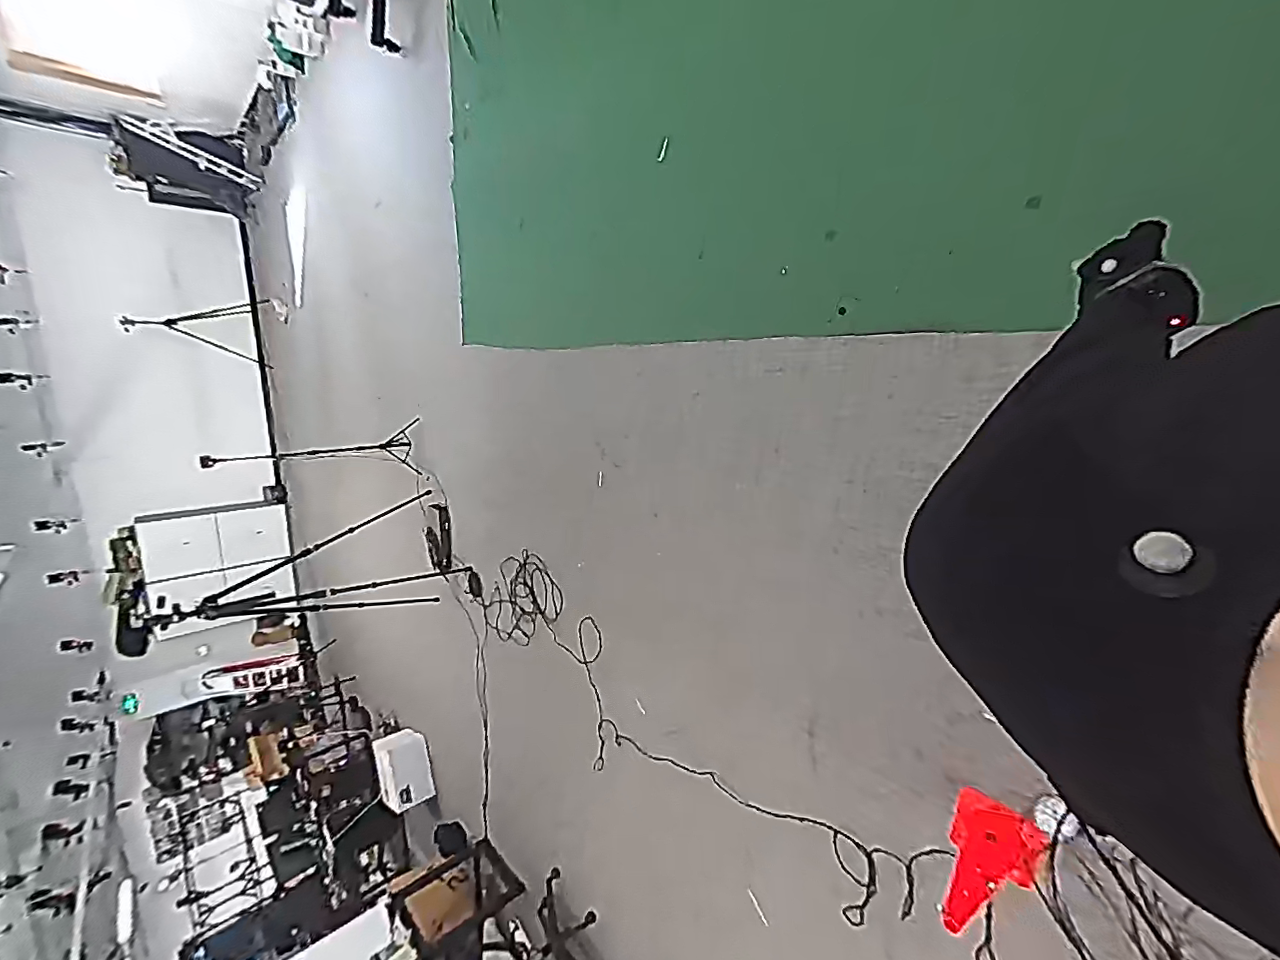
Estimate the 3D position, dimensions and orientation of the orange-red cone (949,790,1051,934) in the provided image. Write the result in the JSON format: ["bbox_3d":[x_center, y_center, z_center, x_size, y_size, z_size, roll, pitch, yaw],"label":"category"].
[{"bbox_3d":[0.839,0.977,1.331,0.198,0.360,0.199,19,110,43],"label":"orange-red cone"}]
